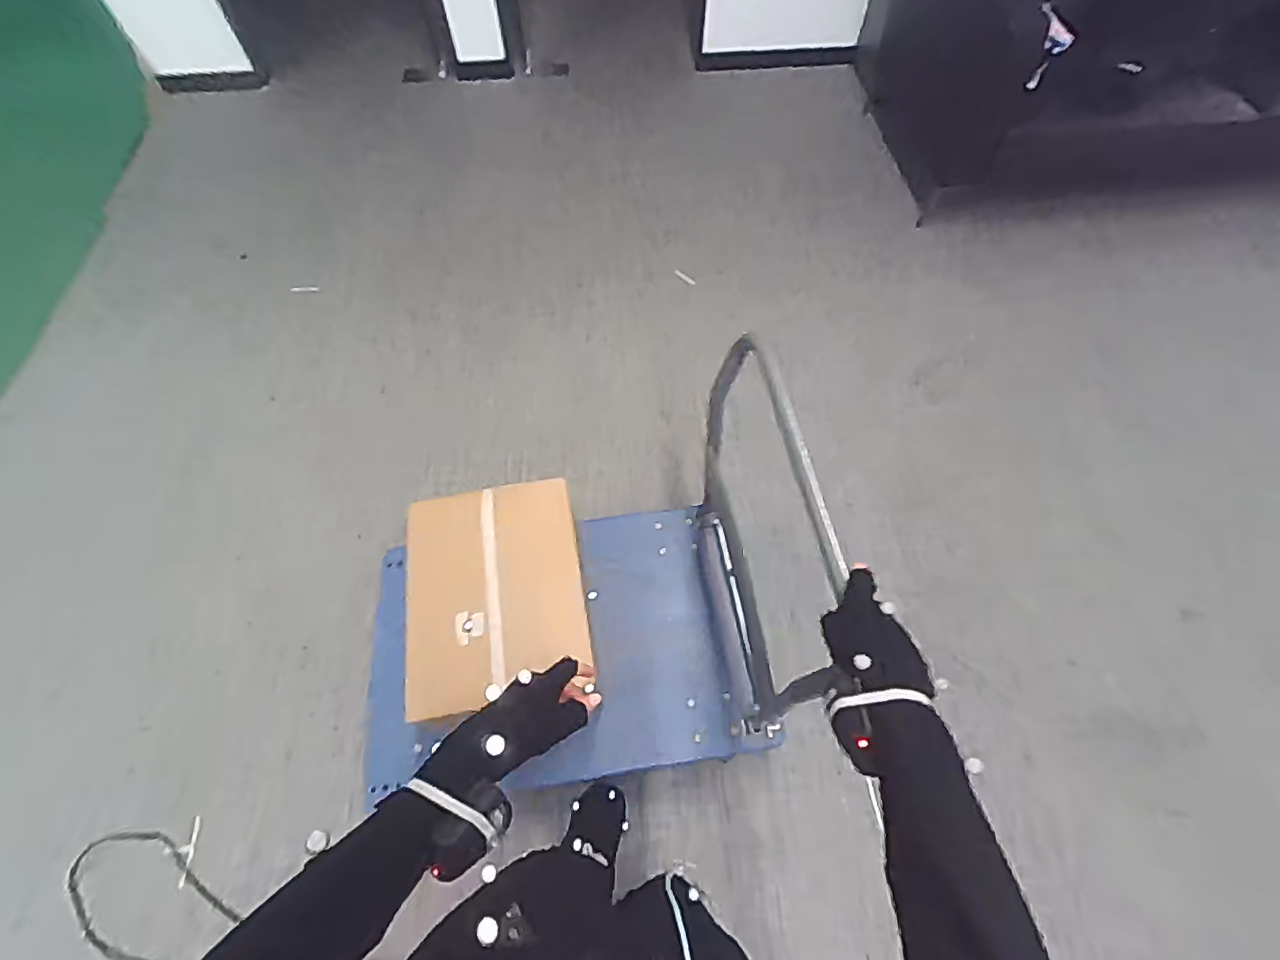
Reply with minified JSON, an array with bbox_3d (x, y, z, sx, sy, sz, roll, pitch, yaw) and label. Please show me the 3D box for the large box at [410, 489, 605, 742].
[{"bbox_3d":[-0.260,0.284,1.113,0.320,0.320,0.408,-11,62,-6],"label":"large box"}]
